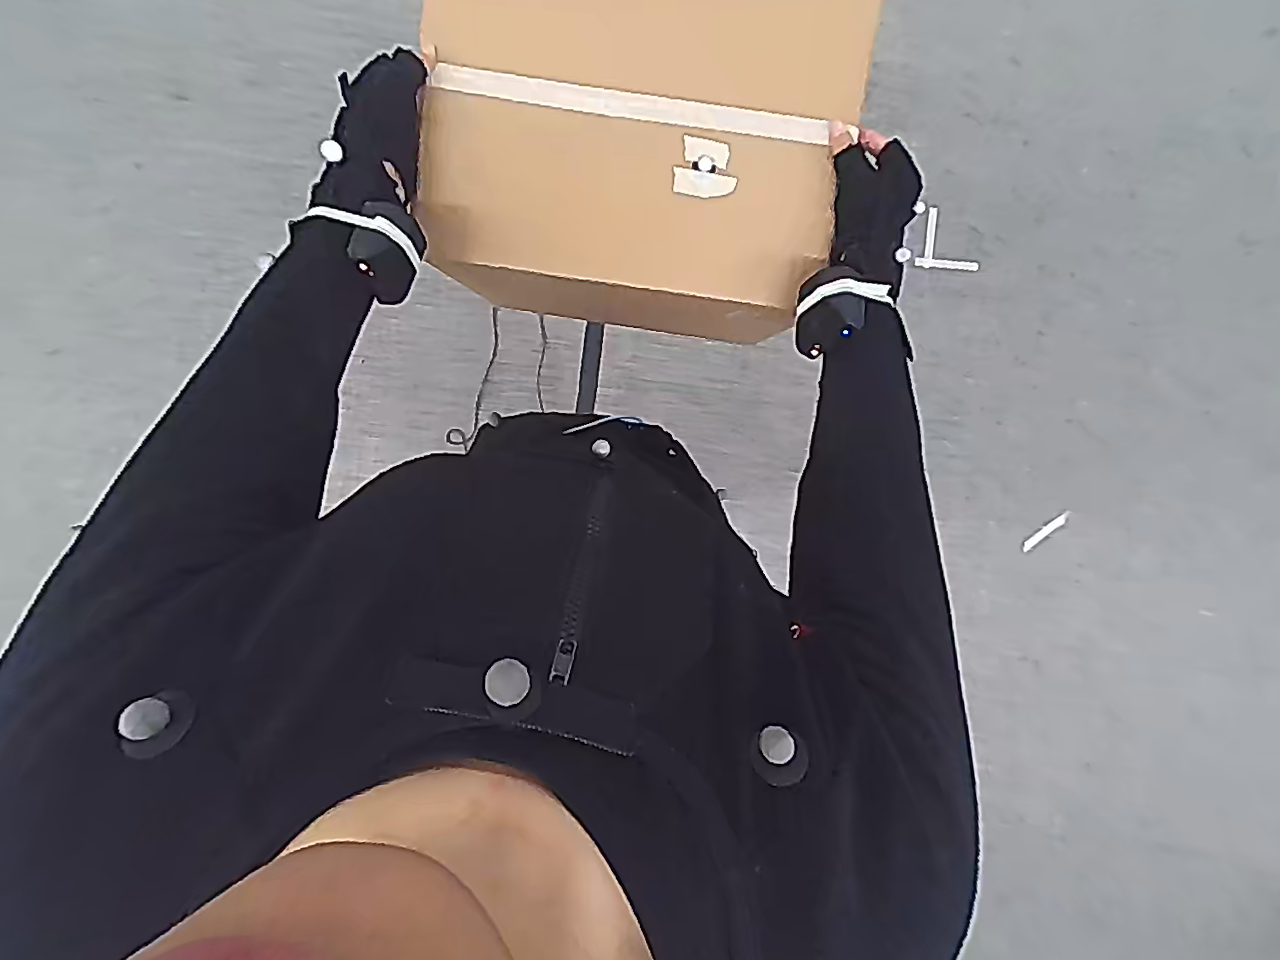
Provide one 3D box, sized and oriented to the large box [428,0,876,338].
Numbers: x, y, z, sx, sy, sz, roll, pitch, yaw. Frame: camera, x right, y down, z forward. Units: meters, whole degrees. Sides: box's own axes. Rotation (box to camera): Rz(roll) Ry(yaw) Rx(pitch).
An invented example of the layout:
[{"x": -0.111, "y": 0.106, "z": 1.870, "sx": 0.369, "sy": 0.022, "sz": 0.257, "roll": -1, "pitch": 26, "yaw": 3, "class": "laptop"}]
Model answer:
[{"x": 0.003, "y": -0.367, "z": 0.657, "sx": 0.408, "sy": 0.320, "sz": 0.320, "roll": 7, "pitch": 99, "yaw": -2, "class": "large box"}]
